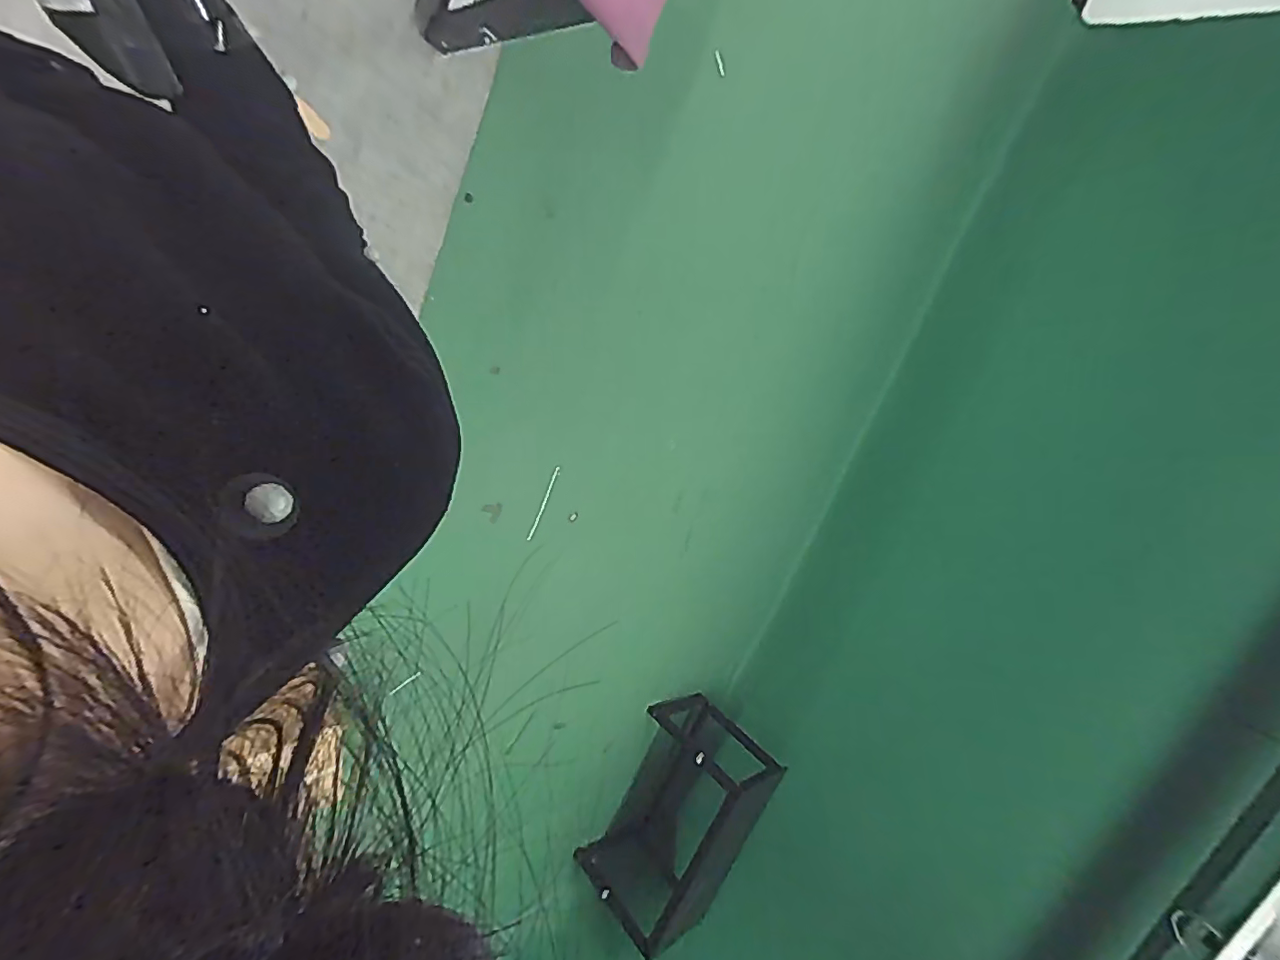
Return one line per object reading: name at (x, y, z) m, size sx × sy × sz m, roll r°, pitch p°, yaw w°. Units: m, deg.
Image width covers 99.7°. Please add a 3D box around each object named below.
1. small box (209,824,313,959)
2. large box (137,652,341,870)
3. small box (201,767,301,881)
small box at (-0.868, 0.930, 1.233) m, size 0.168 × 0.176 × 0.179 m, roll -2°, pitch 115°, yaw -45°
large box at (-1.106, 0.752, 1.516) m, size 0.408 × 0.320 × 0.320 m, roll -9°, pitch 122°, yaw -44°
small box at (-0.966, 0.858, 1.342) m, size 0.179 × 0.176 × 0.168 m, roll -4°, pitch 116°, yaw -44°
